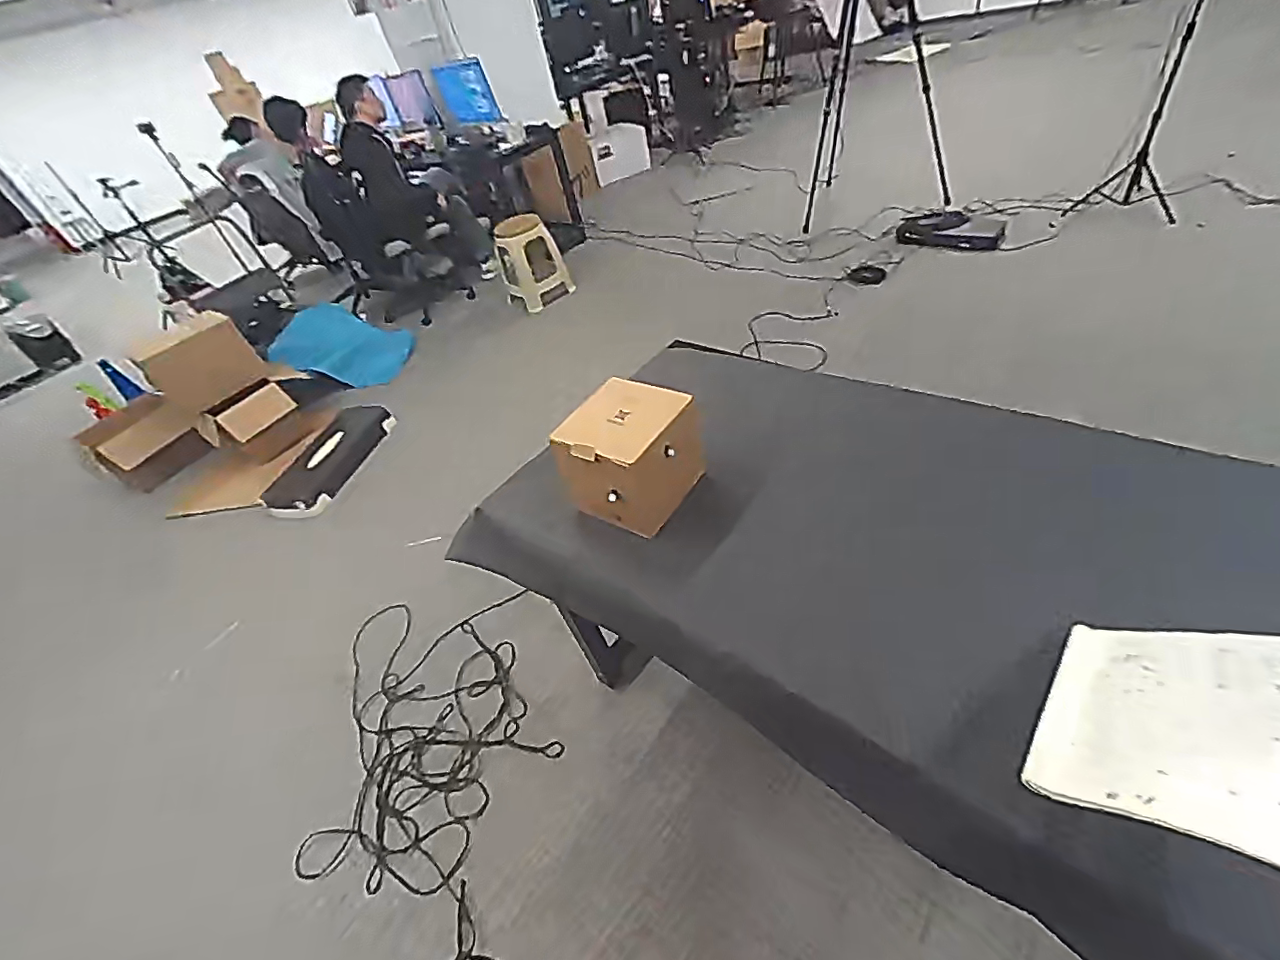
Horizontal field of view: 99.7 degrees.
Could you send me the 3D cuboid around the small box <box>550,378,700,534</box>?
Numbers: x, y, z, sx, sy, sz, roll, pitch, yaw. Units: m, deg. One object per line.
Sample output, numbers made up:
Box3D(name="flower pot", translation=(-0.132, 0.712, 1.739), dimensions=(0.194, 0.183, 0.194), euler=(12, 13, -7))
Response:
Box3D(name="small box", translation=(-0.014, -0.040, 0.893), dimensions=(0.168, 0.176, 0.179), euler=(20, 52, 32))
